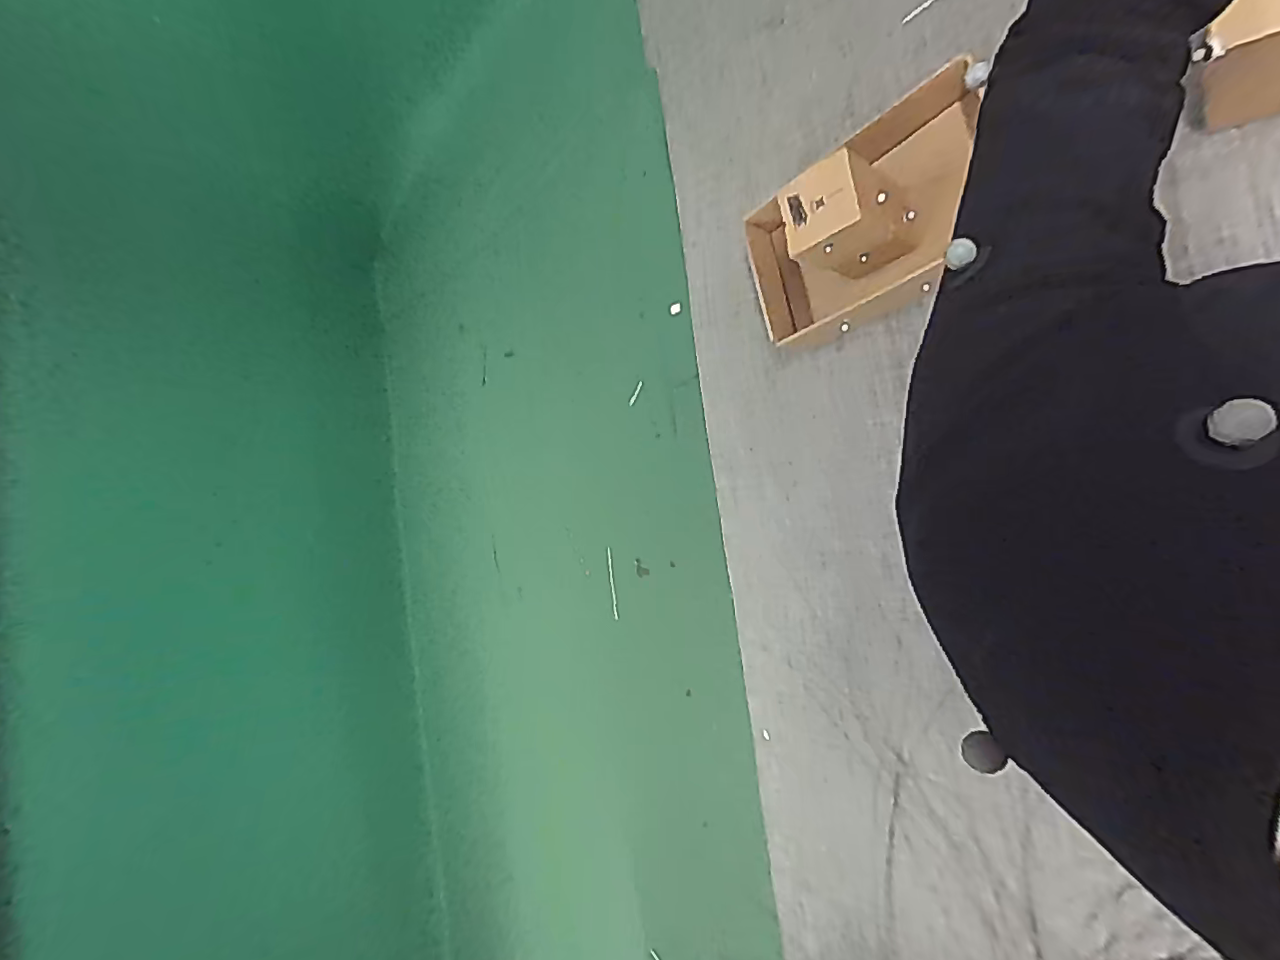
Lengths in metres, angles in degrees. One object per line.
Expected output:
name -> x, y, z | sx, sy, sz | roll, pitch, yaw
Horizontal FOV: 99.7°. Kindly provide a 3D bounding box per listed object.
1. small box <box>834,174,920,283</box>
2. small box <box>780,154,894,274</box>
small box -> 0.575, -0.625, 1.370 | 0.179, 0.176, 0.168 | -20, 80, 45
small box -> 0.457, -0.604, 1.255 | 0.179, 0.176, 0.168 | -16, 82, 46
